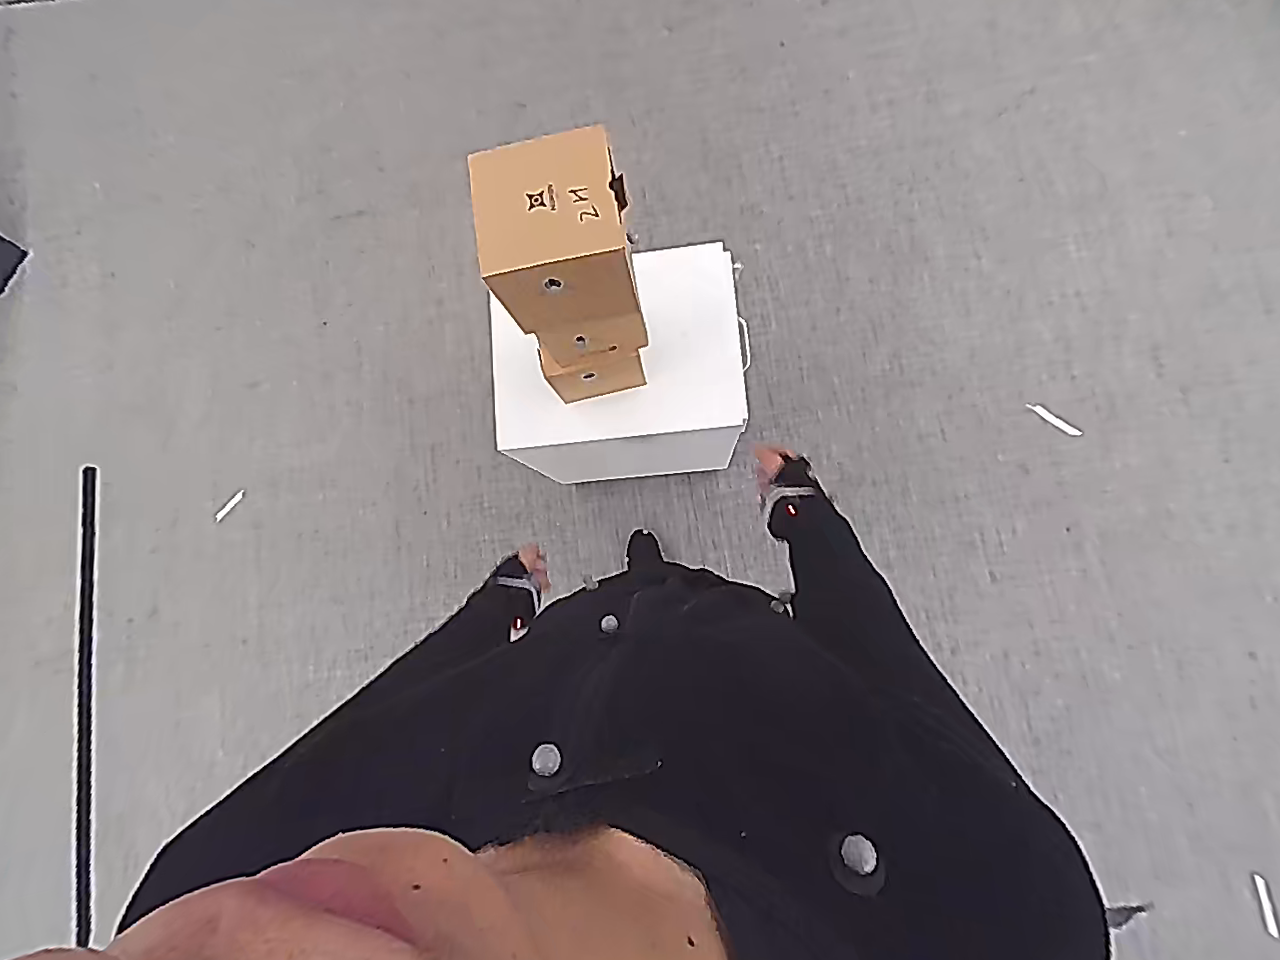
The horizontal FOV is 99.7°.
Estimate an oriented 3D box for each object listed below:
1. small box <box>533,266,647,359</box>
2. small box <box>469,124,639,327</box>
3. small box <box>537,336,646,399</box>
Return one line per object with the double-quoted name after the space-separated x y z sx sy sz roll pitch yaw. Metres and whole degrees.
-0.087 -0.312 0.882 0.168 0.176 0.179 -12 80 4 "small box"
-0.105 -0.321 0.717 0.179 0.176 0.168 -9 81 5 "small box"
-0.094 -0.269 1.041 0.179 0.176 0.168 -13 81 3 "small box"
